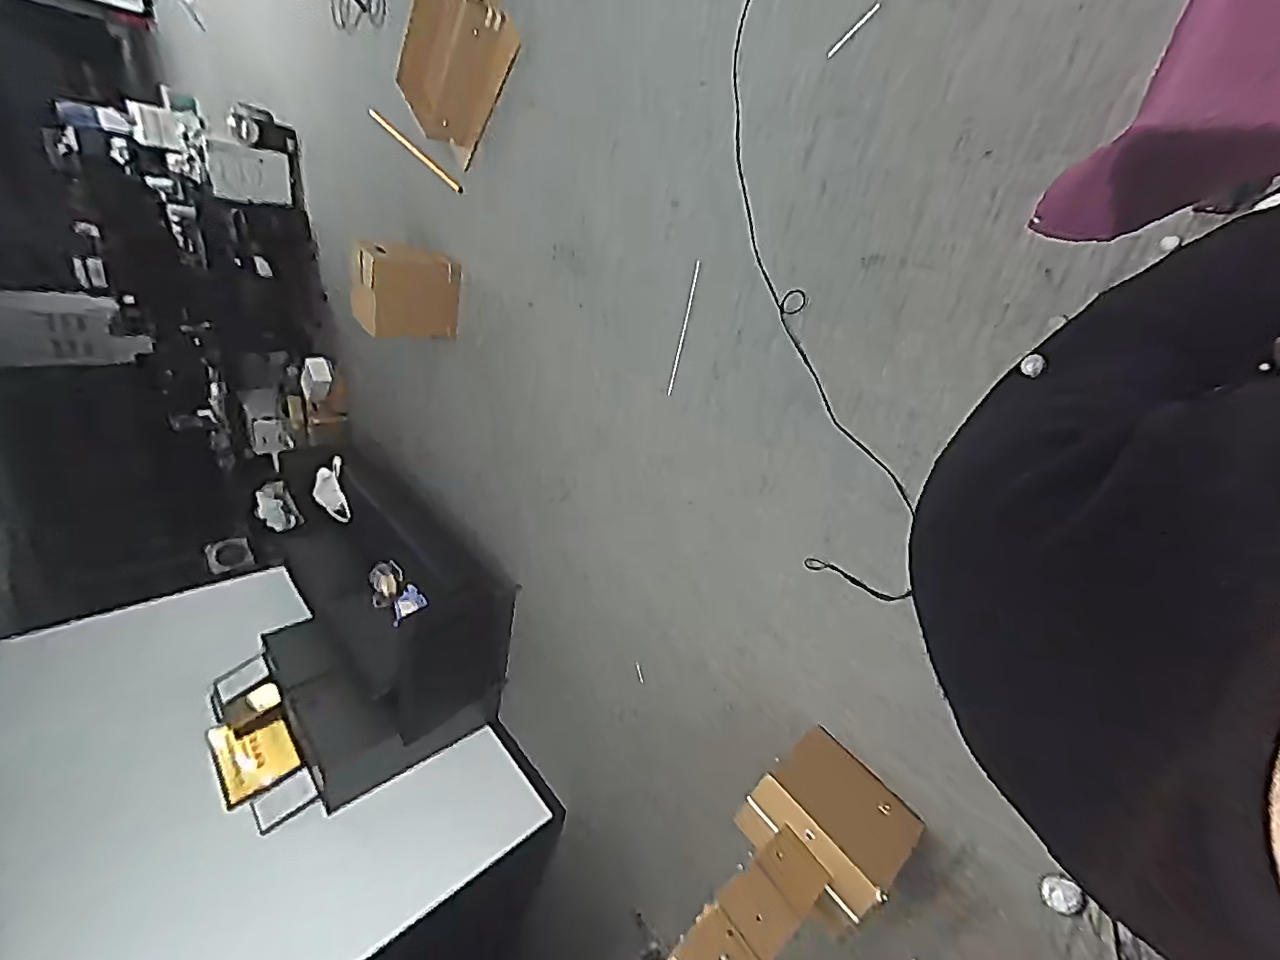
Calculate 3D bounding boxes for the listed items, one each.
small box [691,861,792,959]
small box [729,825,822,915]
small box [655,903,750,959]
[{"bbox_3d":[0.278,1.193,1.487,0.179,0.176,0.168,44,132,28],"label":"small box"},{"bbox_3d":[0.397,1.162,1.595,0.179,0.176,0.168,43,131,29],"label":"small box"},{"bbox_3d":[0.161,1.234,1.379,0.168,0.176,0.179,44,131,30],"label":"small box"}]
